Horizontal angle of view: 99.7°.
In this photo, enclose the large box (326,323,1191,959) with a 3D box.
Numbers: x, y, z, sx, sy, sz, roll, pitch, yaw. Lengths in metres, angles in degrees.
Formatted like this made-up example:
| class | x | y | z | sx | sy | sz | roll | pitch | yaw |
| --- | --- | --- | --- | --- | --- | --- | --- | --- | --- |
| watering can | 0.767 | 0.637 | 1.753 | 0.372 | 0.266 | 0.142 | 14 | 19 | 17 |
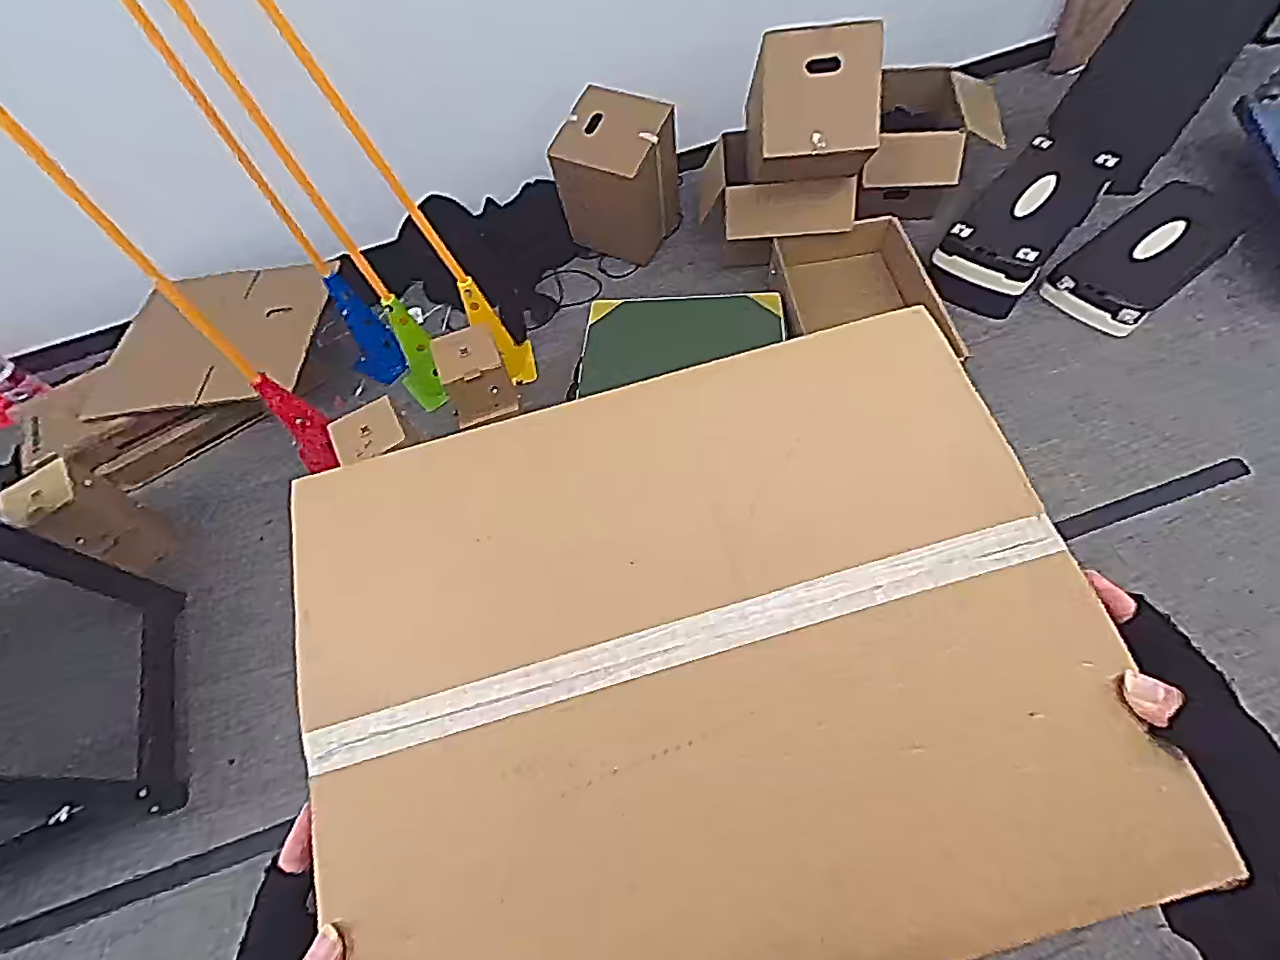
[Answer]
| class | x | y | z | sx | sy | sz | roll | pitch | yaw |
| --- | --- | --- | --- | --- | --- | --- | --- | --- | --- |
| large box | 0.039 | 0.140 | 0.437 | 0.408 | 0.320 | 0.320 | -16 | 70 | -1 |
